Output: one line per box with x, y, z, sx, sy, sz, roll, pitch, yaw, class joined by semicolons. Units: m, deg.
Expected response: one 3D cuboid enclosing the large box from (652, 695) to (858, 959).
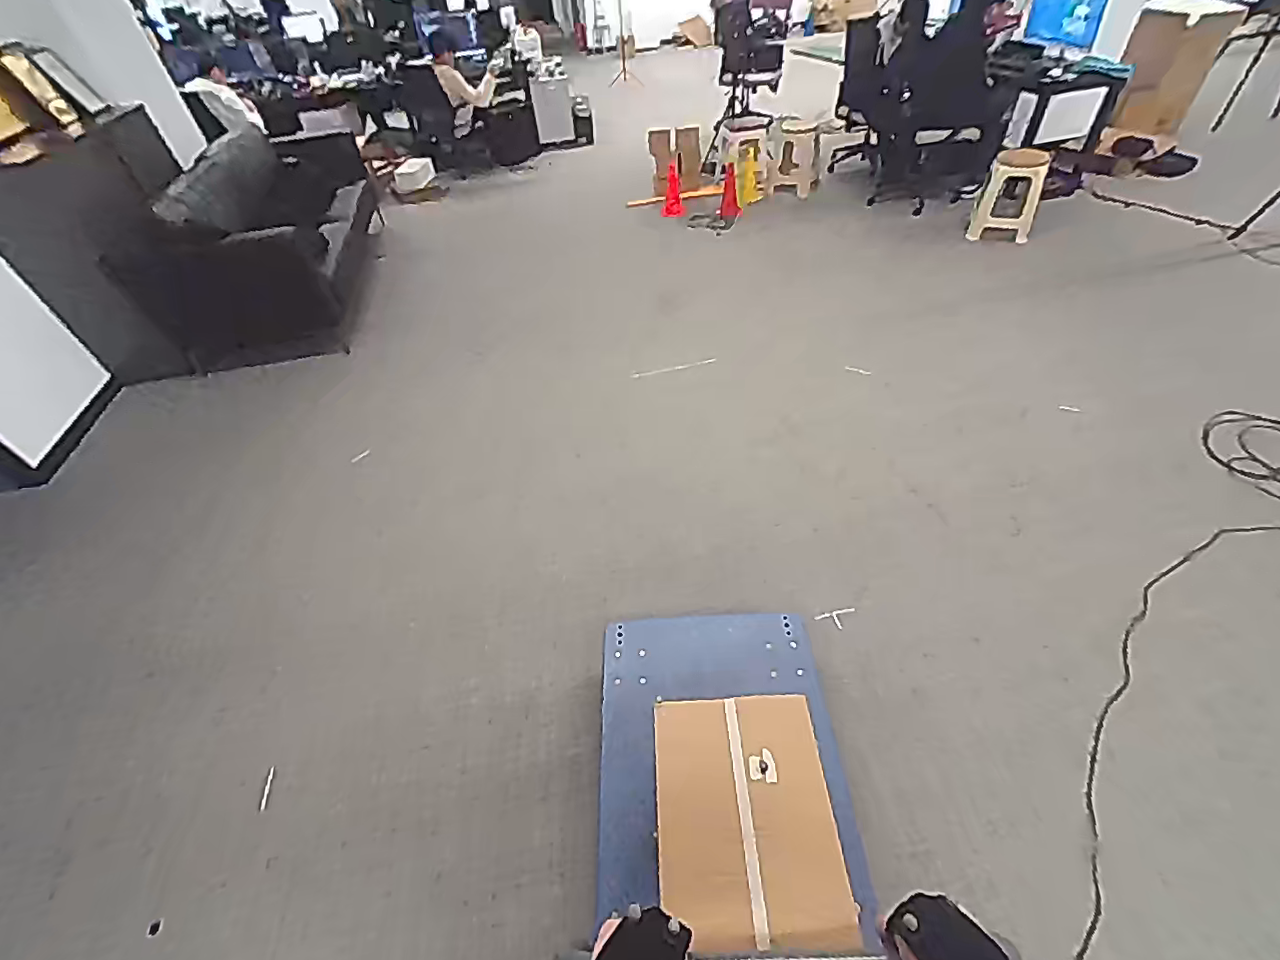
0.200;0.705;1.091;0.320;0.320;0.408;-4;44;2;large box
